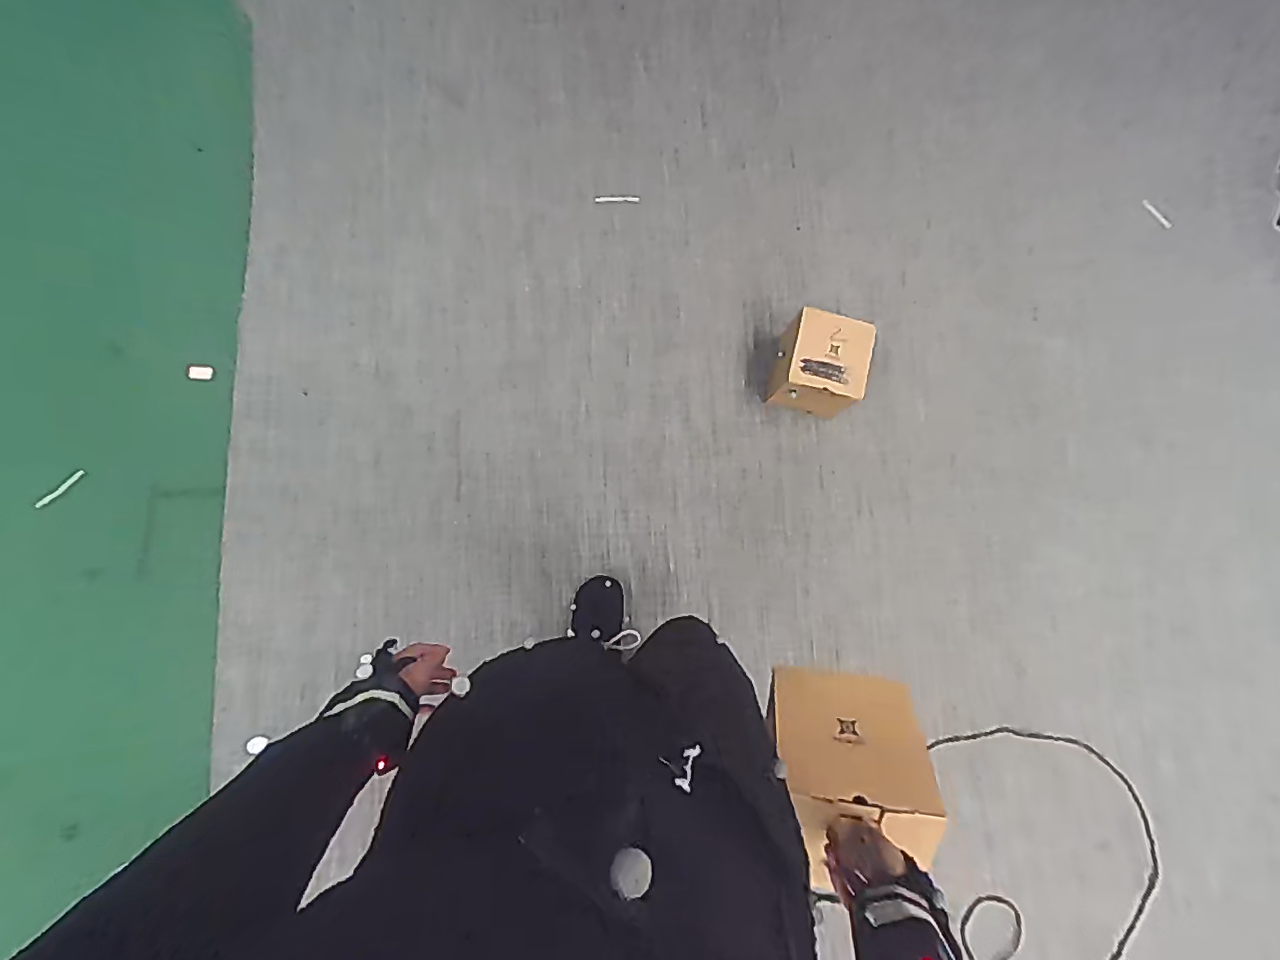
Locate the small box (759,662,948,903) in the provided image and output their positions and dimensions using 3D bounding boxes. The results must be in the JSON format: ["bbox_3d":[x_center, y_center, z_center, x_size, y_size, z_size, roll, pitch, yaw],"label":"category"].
[{"bbox_3d":[0.235,0.352,0.647,0.168,0.179,0.176,5,118,9],"label":"small box"}]
